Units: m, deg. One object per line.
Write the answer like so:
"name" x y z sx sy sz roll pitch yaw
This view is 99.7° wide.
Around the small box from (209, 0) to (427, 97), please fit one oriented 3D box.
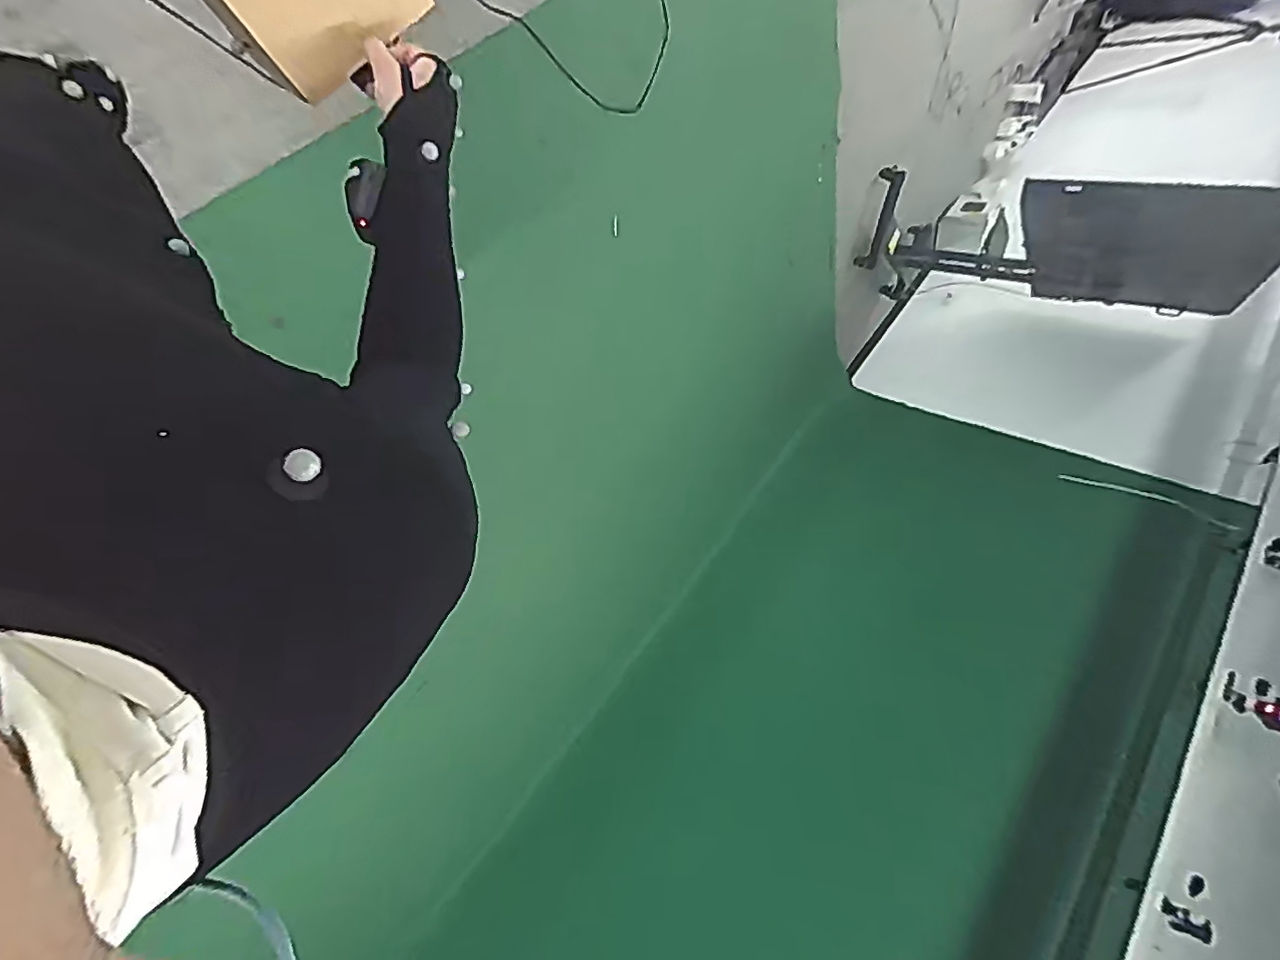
"small box" -0.347 -0.518 0.507 0.168 0.176 0.179 -44 152 -4
